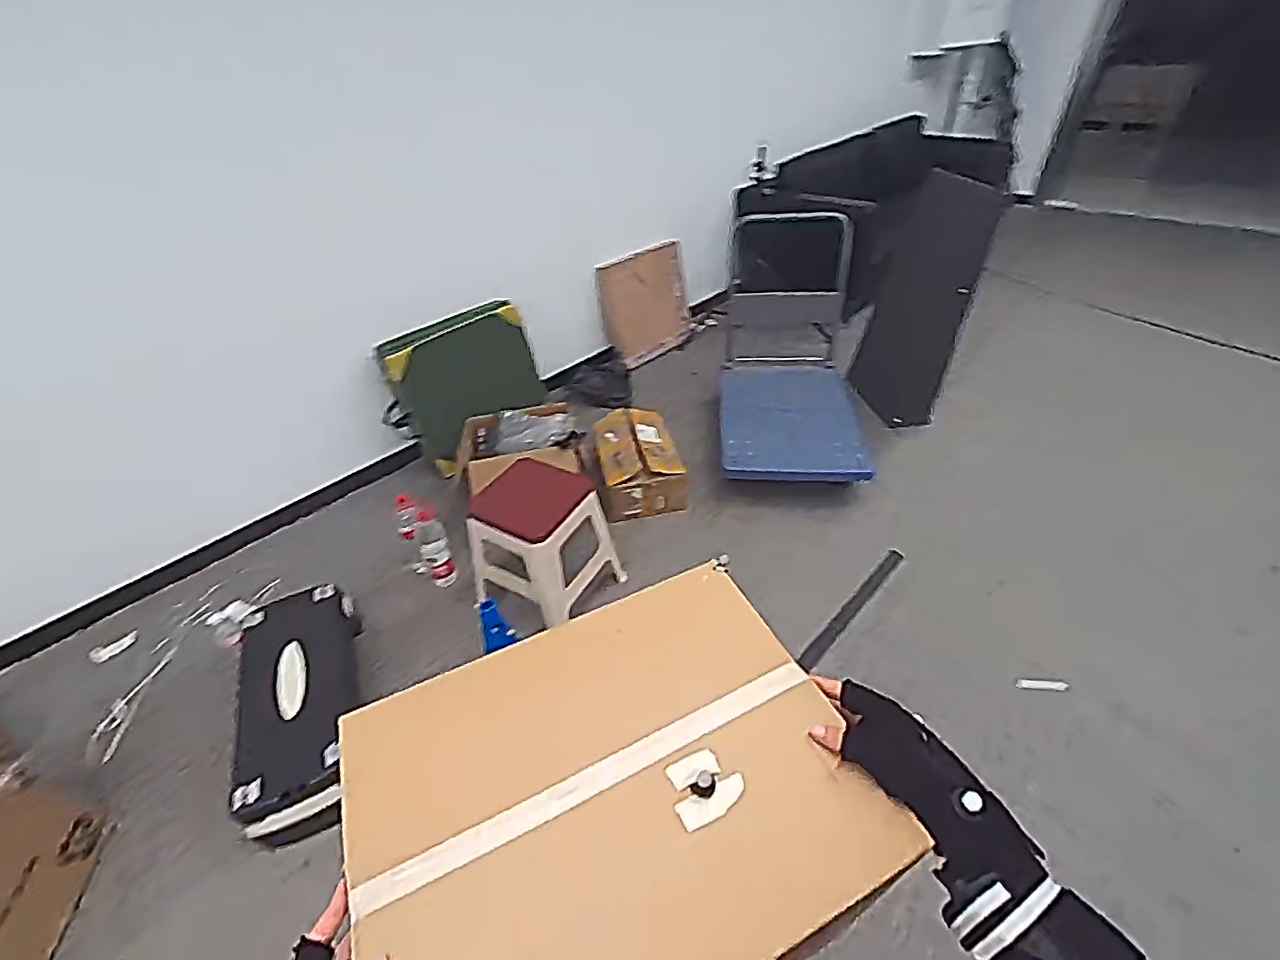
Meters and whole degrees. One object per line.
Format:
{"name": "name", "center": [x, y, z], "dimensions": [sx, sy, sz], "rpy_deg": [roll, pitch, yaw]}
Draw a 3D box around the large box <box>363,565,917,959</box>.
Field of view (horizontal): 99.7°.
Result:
{"name": "large box", "center": [-0.015, 0.361, 0.565], "dimensions": [0.408, 0.320, 0.320], "rpy_deg": [-19, 44, -17]}
